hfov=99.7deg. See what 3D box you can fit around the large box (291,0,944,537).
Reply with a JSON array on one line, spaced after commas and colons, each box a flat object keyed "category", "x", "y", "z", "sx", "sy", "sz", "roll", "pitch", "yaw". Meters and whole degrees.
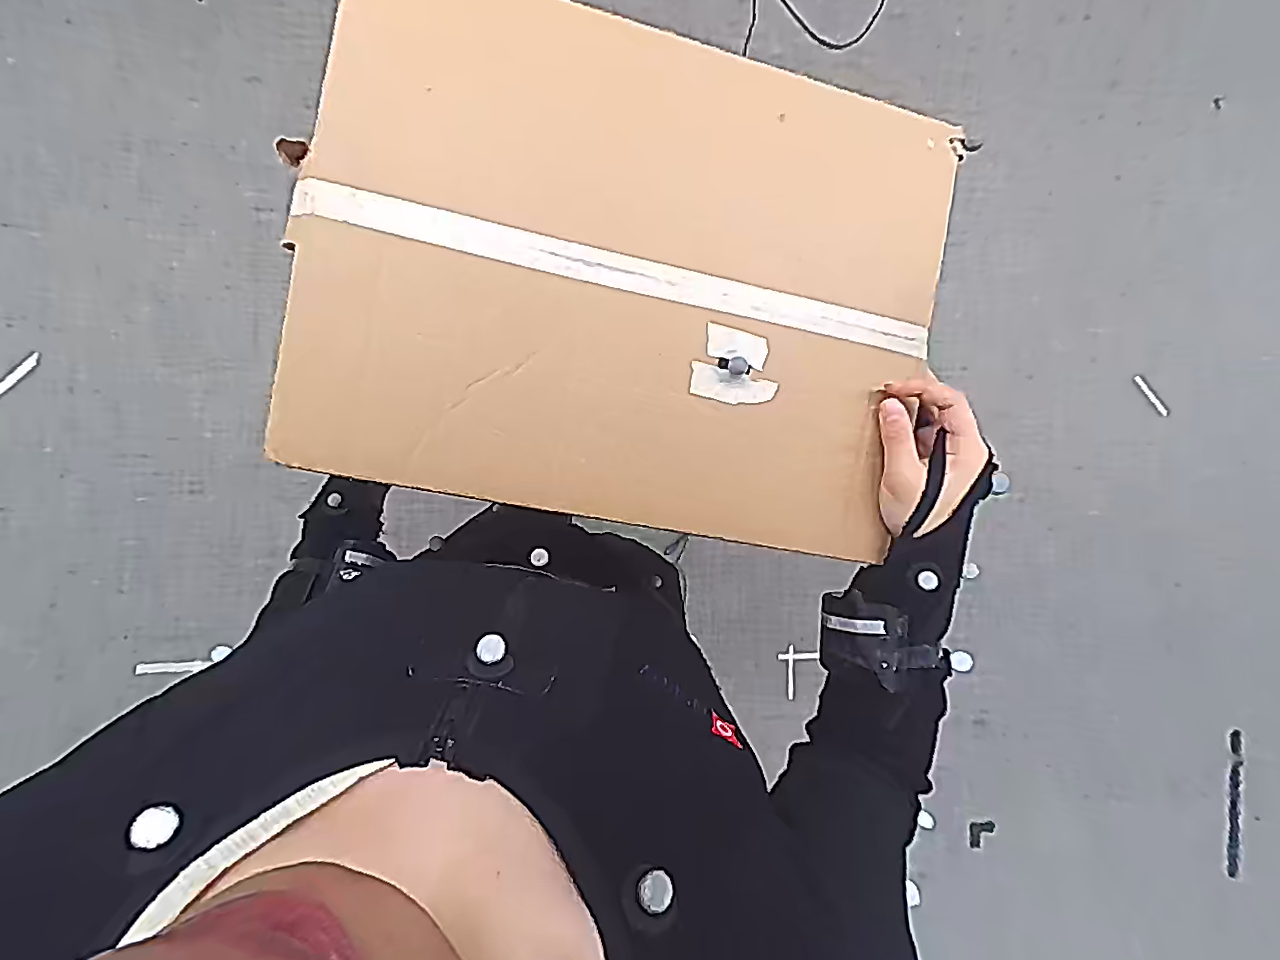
[{"category": "large box", "x": -0.022, "y": -0.142, "z": 0.502, "sx": 0.408, "sy": 0.320, "sz": 0.320, "roll": 10, "pitch": 91, "yaw": -11}]
